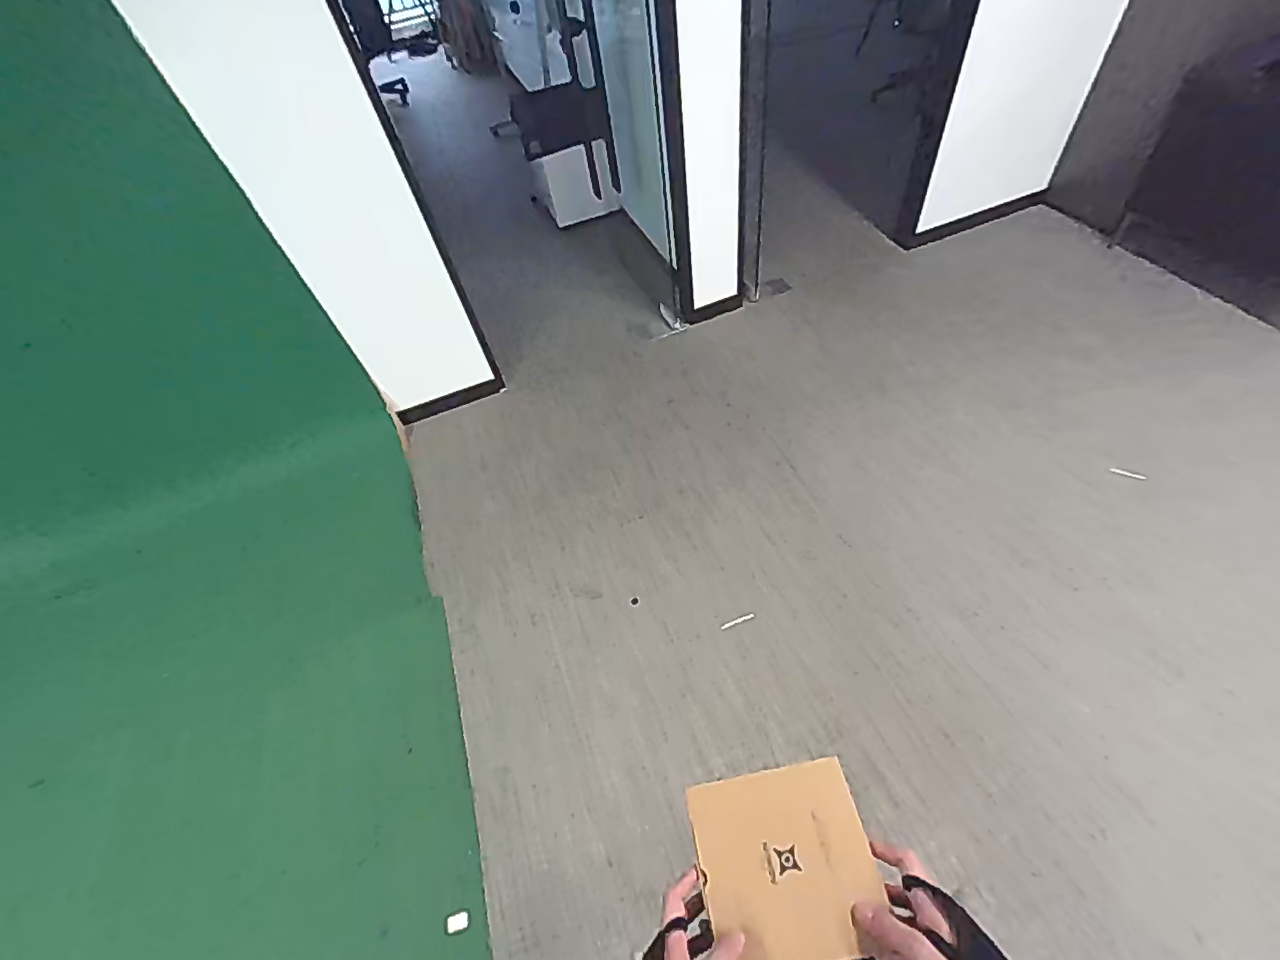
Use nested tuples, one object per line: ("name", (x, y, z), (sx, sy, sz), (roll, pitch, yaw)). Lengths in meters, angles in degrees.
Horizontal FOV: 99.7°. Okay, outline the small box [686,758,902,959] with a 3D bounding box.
("small box", (0.159, 0.436, 0.607), (0.179, 0.176, 0.168), (-12, 50, 1))
